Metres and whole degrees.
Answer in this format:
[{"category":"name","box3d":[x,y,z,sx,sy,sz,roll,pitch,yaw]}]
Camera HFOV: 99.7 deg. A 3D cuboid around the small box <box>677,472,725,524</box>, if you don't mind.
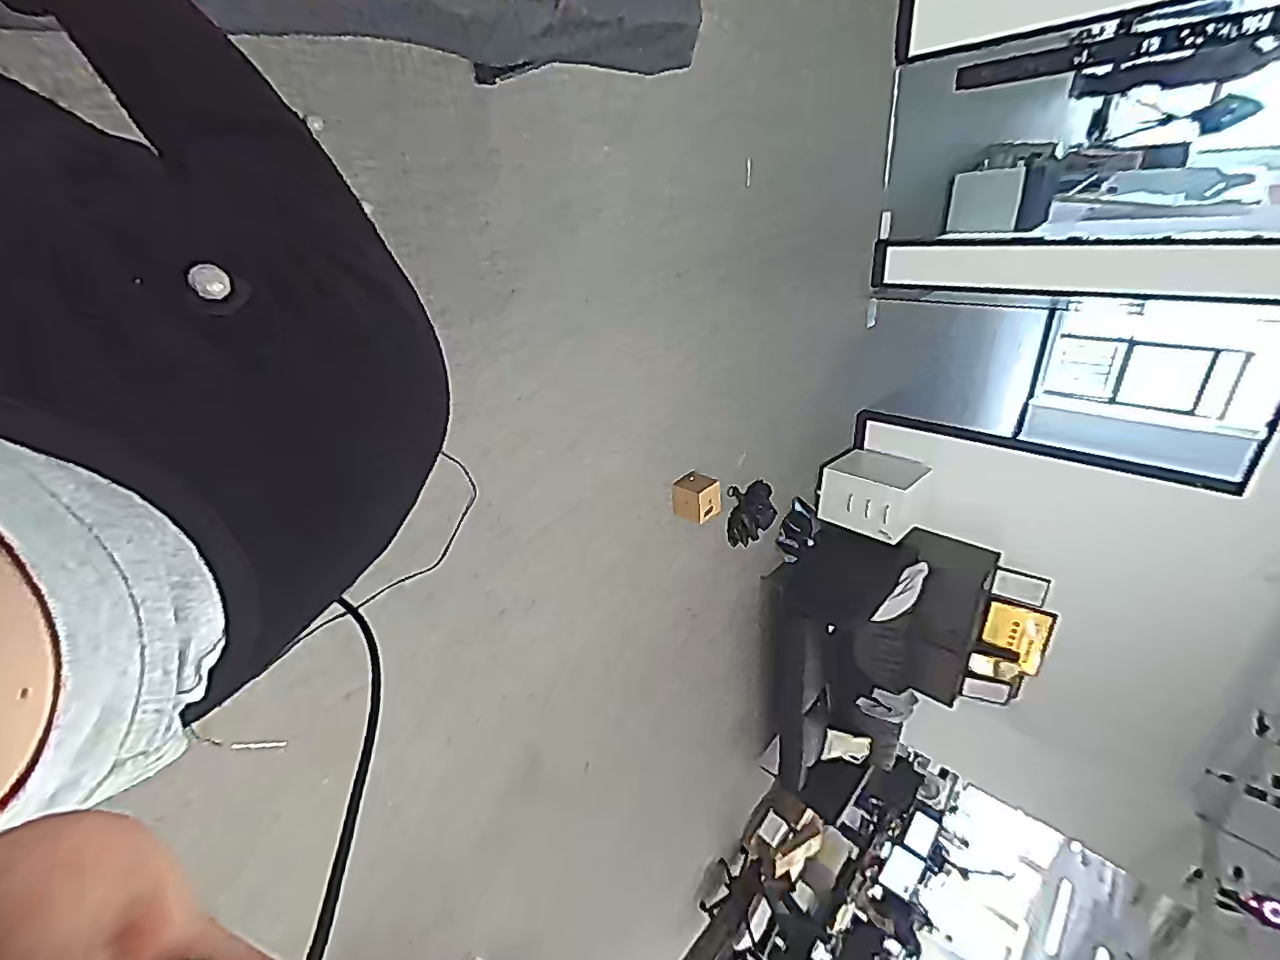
[{"category":"small box","box3d":[0.300,0.085,2.665,0.168,0.176,0.179,-30,125,-37]}]
